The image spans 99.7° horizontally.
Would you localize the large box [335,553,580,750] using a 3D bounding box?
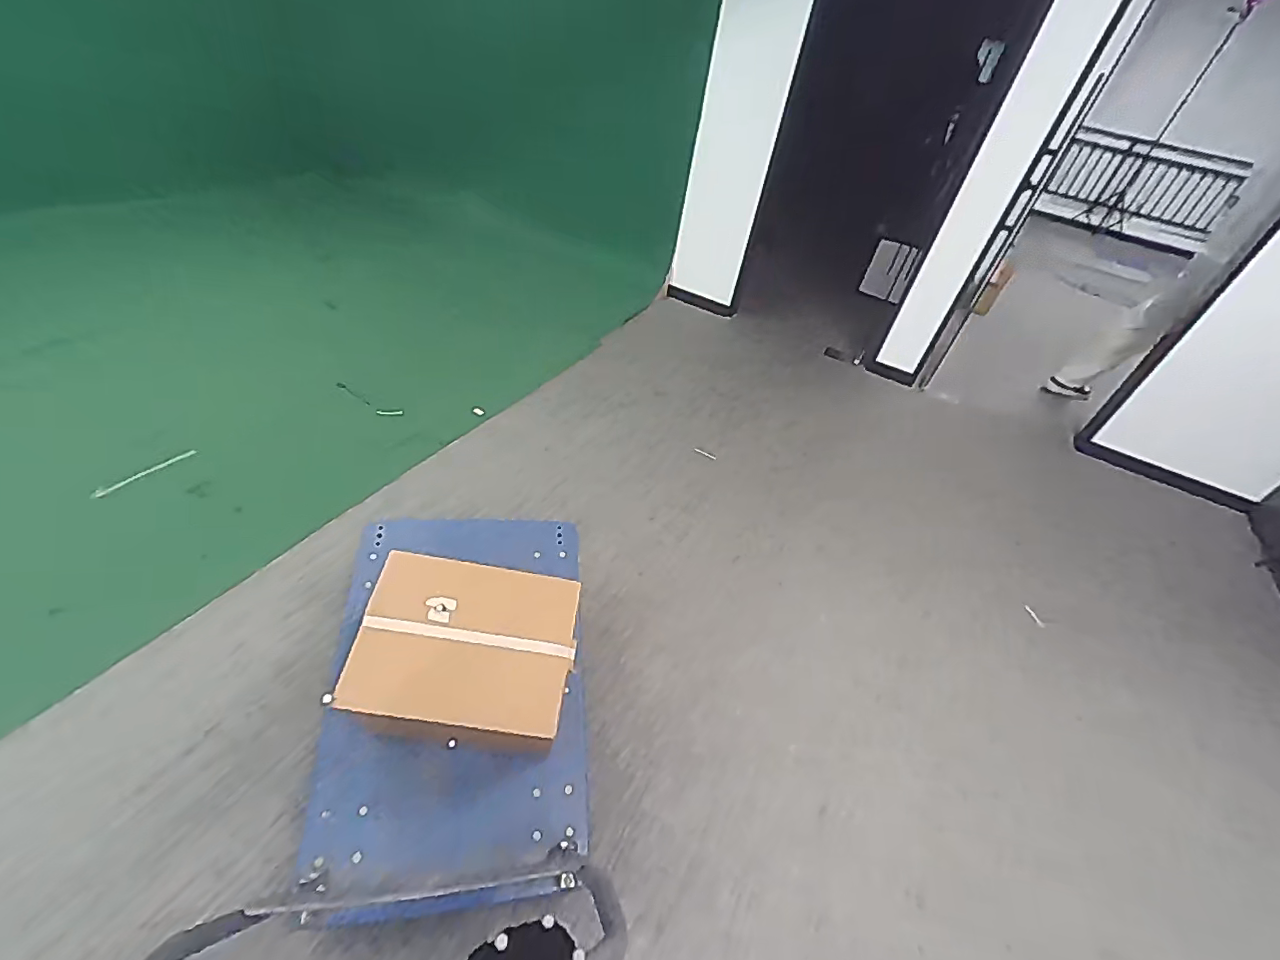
[{"bbox_3d":[-0.358,0.388,1.182,0.408,0.320,0.320,11,56,-5],"label":"large box"}]
